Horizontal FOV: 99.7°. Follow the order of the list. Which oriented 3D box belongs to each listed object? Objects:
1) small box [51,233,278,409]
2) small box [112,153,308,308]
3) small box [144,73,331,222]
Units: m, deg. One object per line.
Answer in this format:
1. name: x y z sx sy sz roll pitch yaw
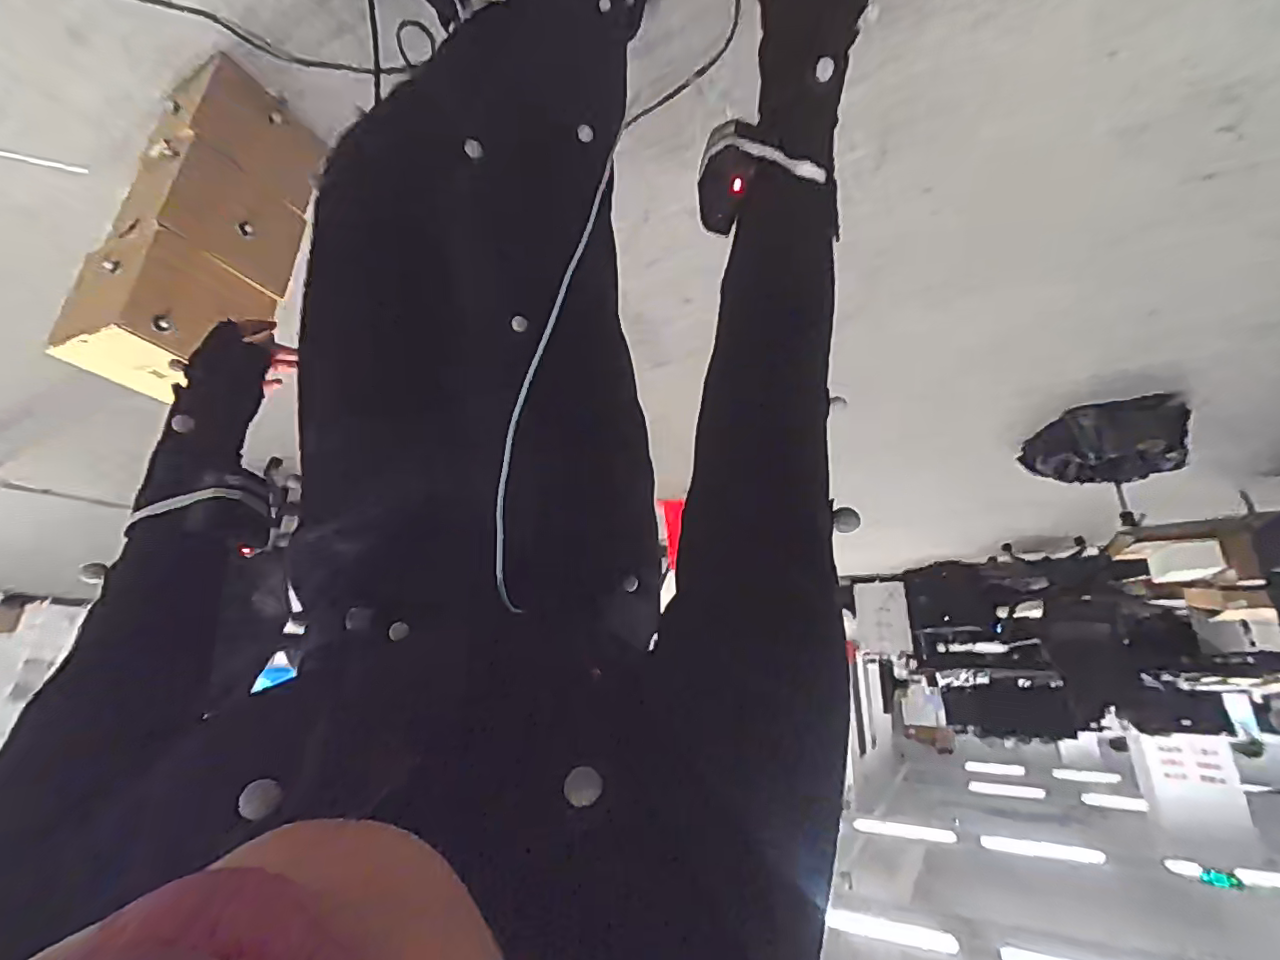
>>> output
1. small box: -0.687 -0.227 0.804 0.168 0.176 0.179 -6 157 20
2. small box: -0.674 -0.379 0.860 0.168 0.176 0.179 -8 158 24
3. small box: -0.668 -0.537 0.913 0.168 0.176 0.179 -7 156 28
